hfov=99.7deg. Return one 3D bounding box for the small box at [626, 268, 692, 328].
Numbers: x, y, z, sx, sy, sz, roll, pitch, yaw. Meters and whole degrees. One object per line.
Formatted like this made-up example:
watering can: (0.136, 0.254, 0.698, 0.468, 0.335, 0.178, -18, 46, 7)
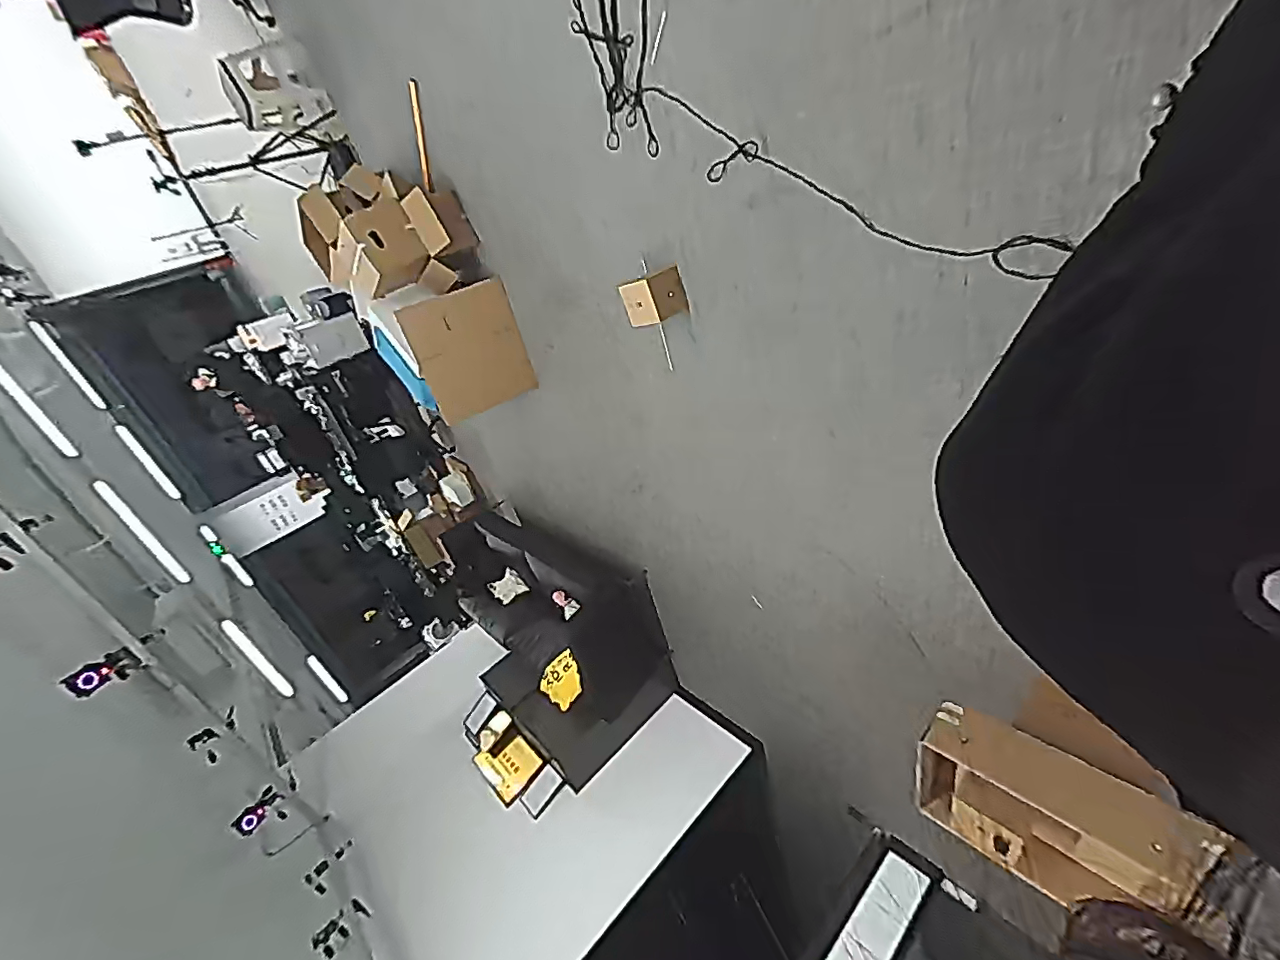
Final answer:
small box: (0.082, -0.708, 2.099, 0.179, 0.176, 0.168, 11, 130, 52)
